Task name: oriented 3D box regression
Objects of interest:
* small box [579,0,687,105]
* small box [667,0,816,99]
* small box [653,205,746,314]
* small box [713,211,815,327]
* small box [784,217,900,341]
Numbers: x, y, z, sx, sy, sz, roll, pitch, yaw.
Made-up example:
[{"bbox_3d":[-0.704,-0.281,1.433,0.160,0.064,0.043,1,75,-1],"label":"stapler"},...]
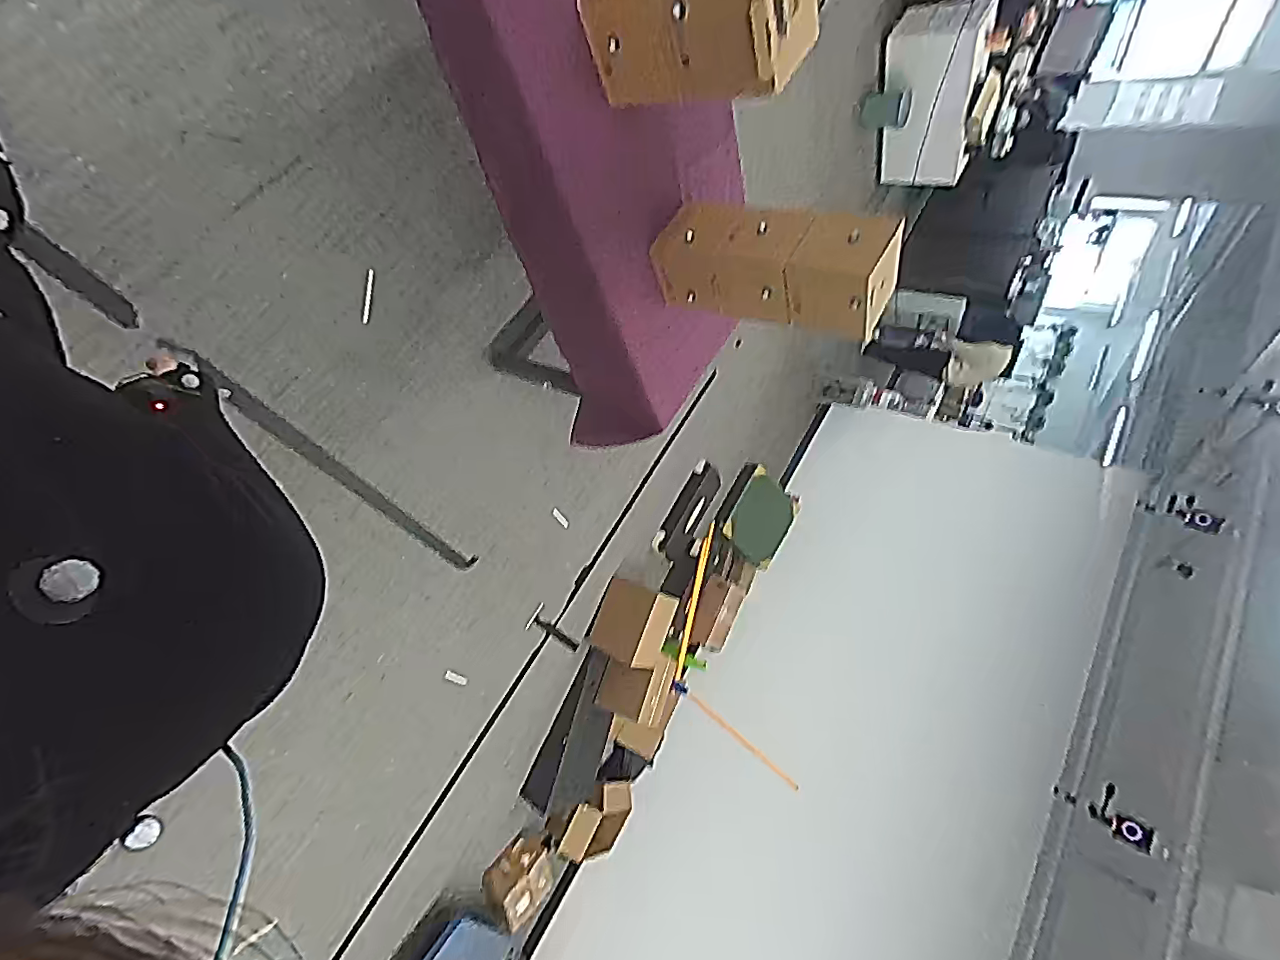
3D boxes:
[{"bbox_3d":[0.025,-0.781,0.931,0.179,0.176,0.168,-56,148,-18],"label":"small box"},{"bbox_3d":[0.157,-0.730,0.847,0.179,0.176,0.168,-58,148,-17],"label":"small box"},{"bbox_3d":[0.147,-0.523,1.278,0.179,0.176,0.168,-57,148,-19],"label":"small box"},{"bbox_3d":[0.277,-0.469,1.193,0.168,0.176,0.179,-57,148,-18],"label":"small box"},{"bbox_3d":[0.412,-0.419,1.115,0.179,0.176,0.168,-57,148,-19],"label":"small box"}]
